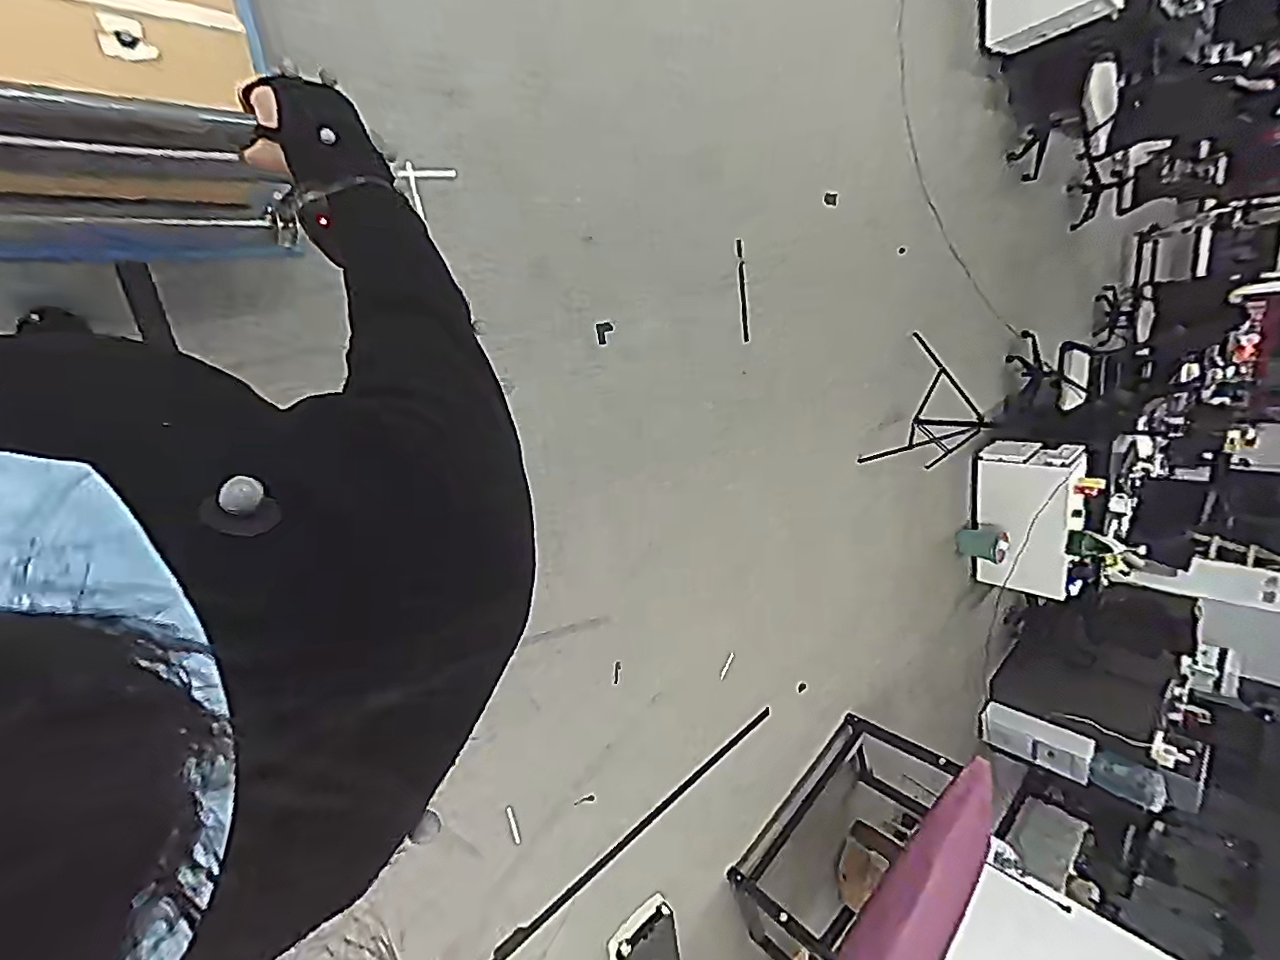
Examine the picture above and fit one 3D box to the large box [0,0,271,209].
[{"bbox_3d":[-0.814,-0.588,0.755,0.408,0.320,0.320,-19,109,-38],"label":"large box"}]
